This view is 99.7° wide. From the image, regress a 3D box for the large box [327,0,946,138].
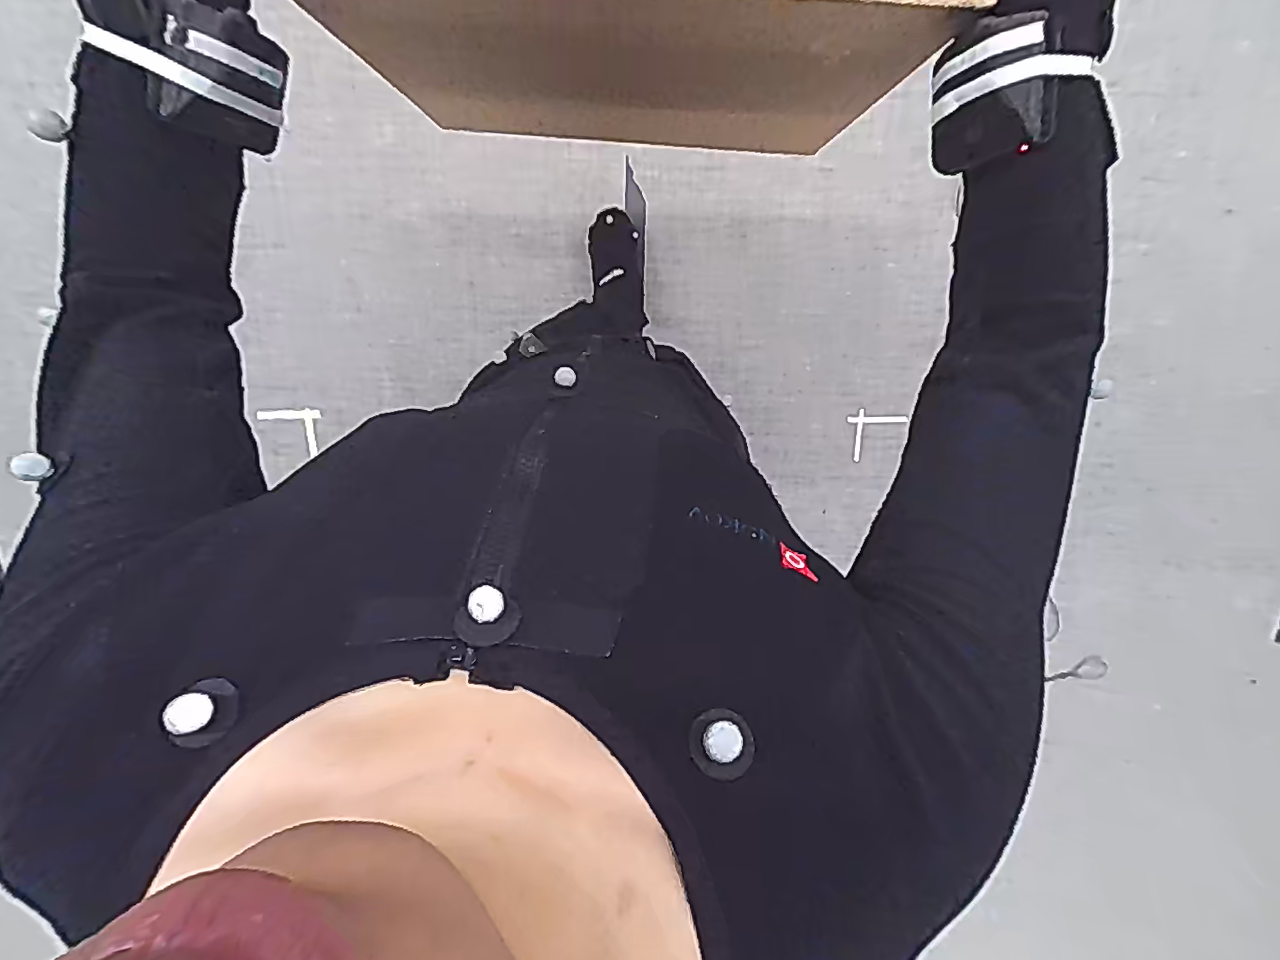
[{"bbox_3d":[-0.005,-0.472,0.392,0.408,0.320,0.320,3,109,-1],"label":"large box"}]
